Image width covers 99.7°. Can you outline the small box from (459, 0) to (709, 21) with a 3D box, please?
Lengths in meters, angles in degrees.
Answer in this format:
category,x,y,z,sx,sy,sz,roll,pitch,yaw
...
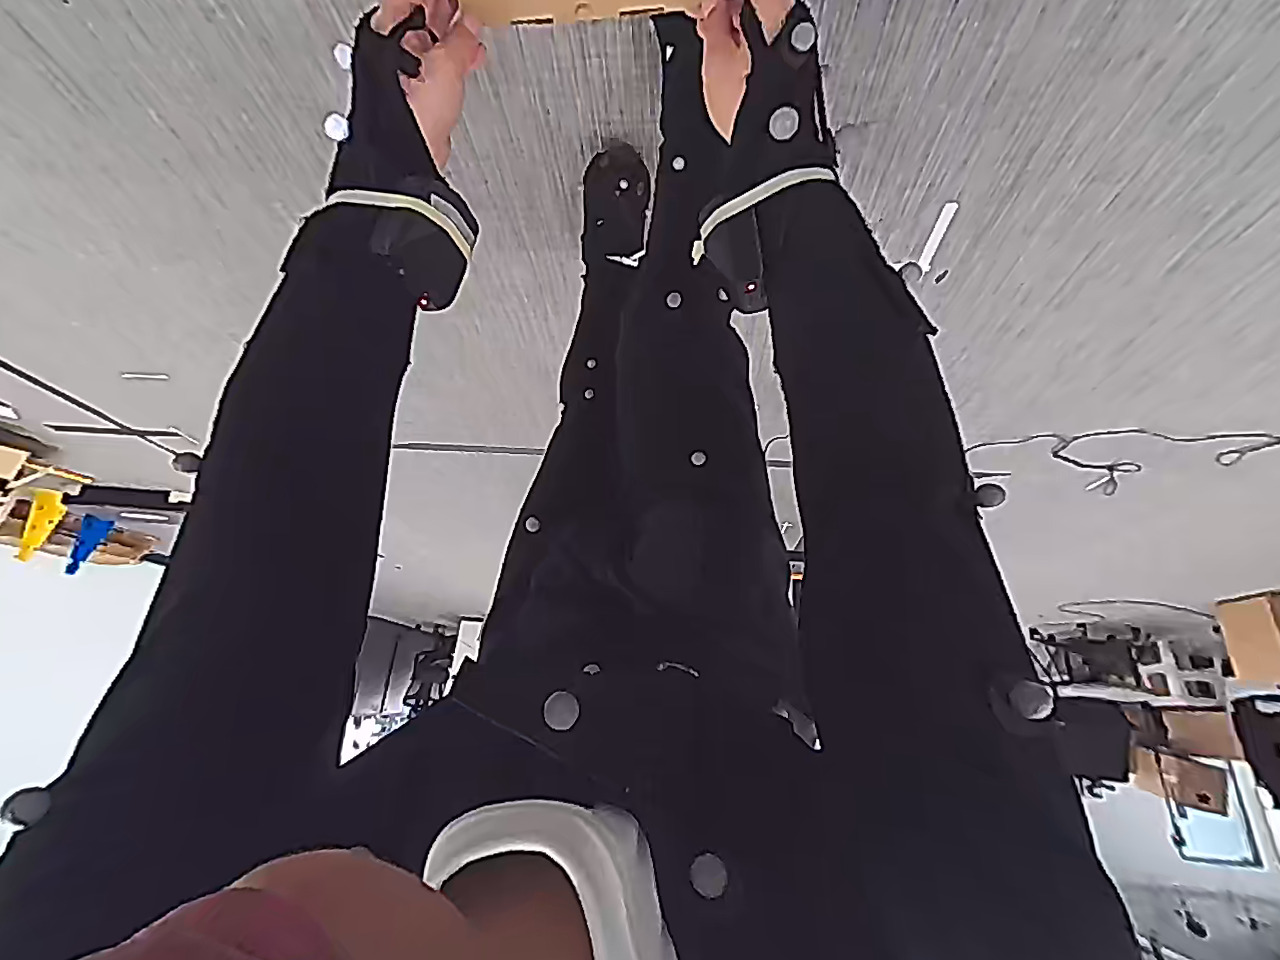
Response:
category,x,y,z,sx,sy,sz,roll,pitch,yaw
small box,-0.036,-0.418,0.321,0.168,0.176,0.179,2,149,7
